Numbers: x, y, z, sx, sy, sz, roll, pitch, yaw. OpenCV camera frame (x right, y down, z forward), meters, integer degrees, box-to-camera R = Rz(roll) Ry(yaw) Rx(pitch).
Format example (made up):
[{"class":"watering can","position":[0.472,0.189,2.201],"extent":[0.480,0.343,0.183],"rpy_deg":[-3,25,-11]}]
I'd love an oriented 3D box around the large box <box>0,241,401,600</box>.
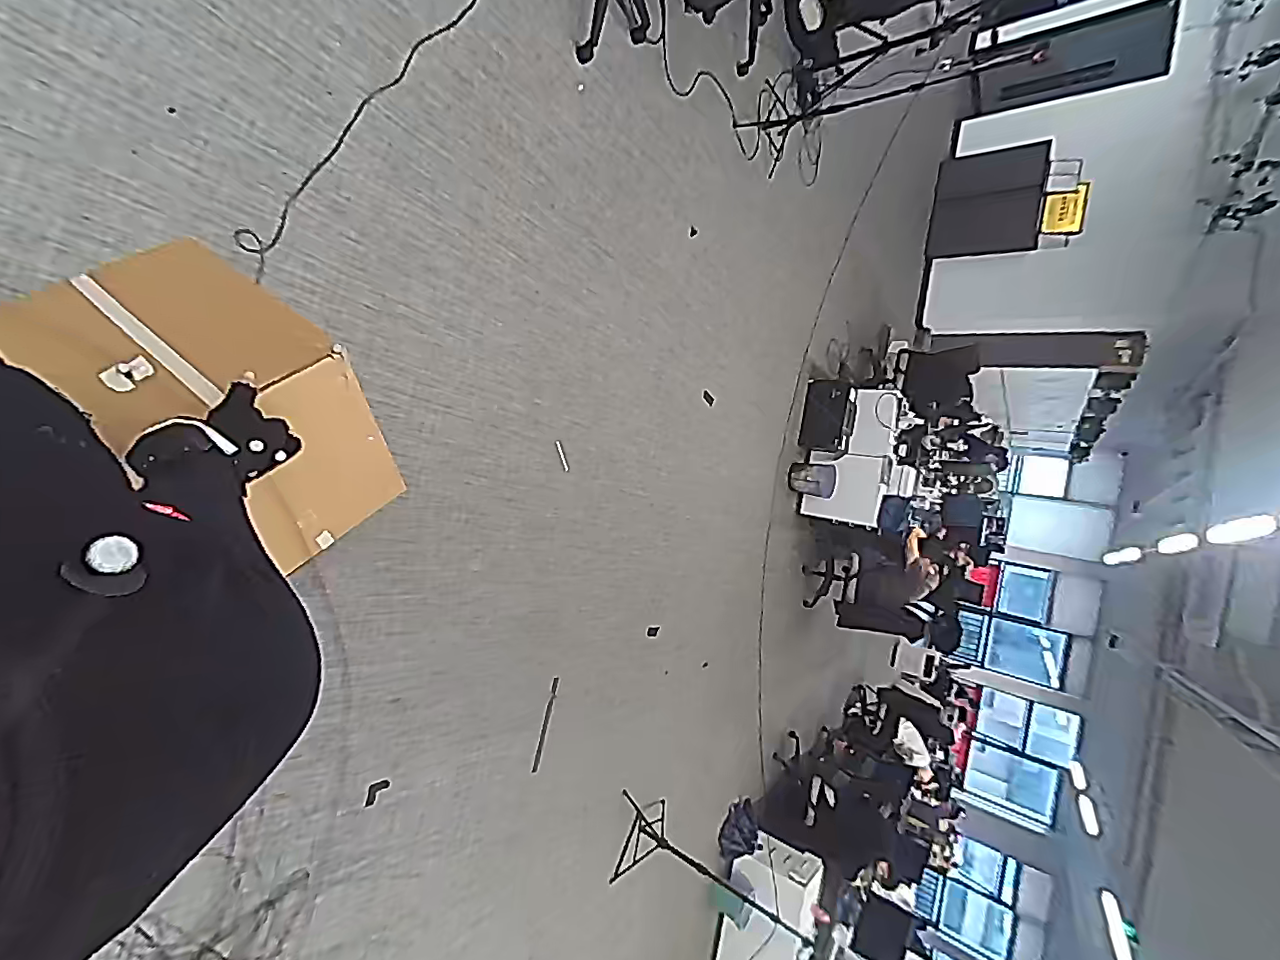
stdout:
[{"class":"large box","position":[-0.657,-0.095,0.833],"extent":[0.320,0.408,0.320],"rpy_deg":[-45,159,-30]}]
